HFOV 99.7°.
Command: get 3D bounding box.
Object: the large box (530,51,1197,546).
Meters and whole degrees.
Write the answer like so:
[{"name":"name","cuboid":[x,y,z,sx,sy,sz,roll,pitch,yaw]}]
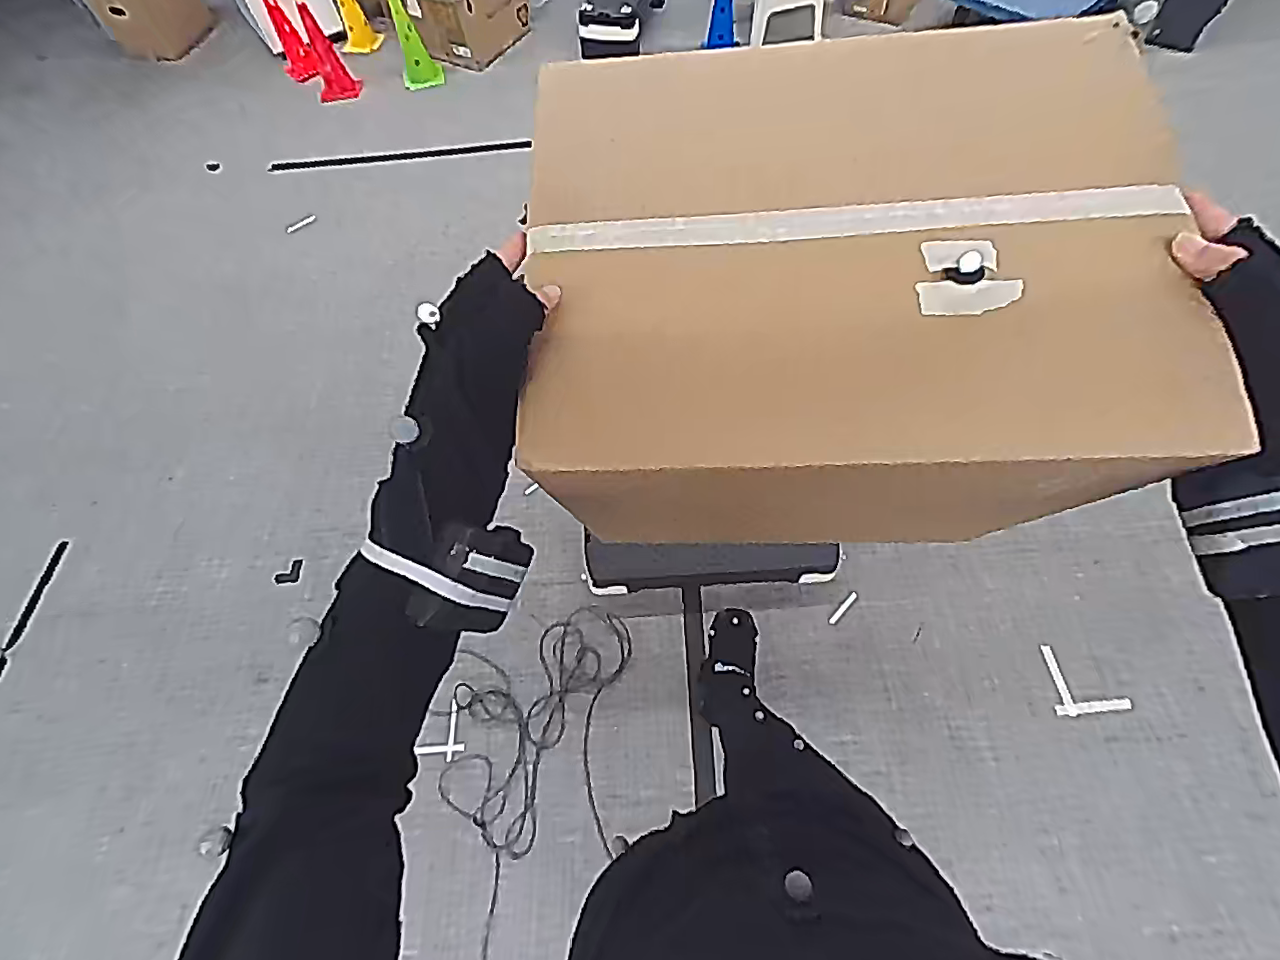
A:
[{"name":"large box","cuboid":[0.135,-0.119,0.510,0.408,0.320,0.320,-2,75,5]}]
